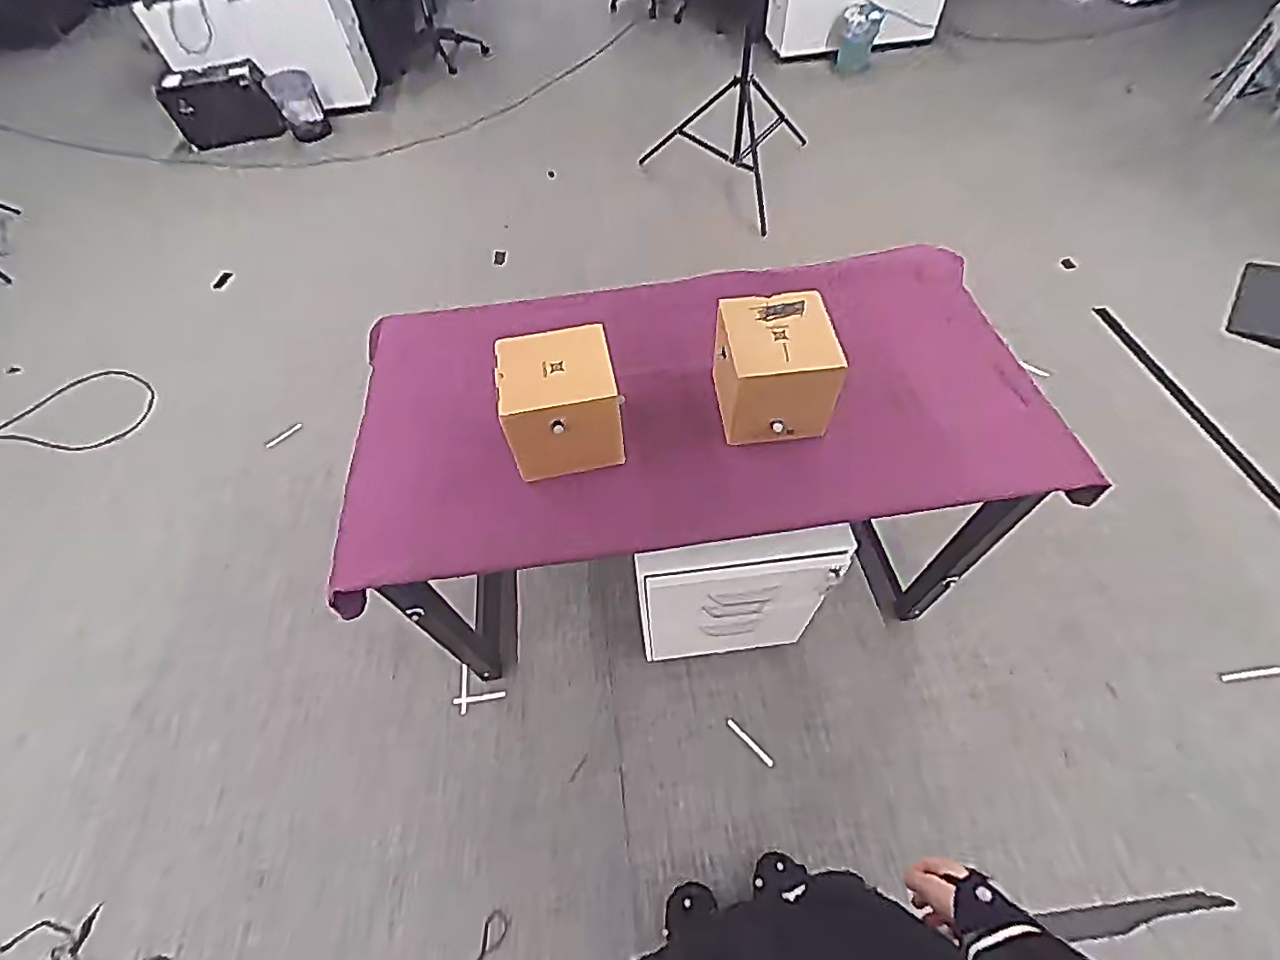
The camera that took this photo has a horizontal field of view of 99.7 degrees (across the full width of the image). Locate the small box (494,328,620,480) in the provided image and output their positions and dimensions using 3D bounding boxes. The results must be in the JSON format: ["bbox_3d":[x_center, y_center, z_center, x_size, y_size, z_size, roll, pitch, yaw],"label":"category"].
[{"bbox_3d":[-0.130,-0.121,0.891,0.179,0.176,0.168,-11,56,-3],"label":"small box"}]

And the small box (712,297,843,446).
[{"bbox_3d":[0.216,-0.179,0.908,0.168,0.176,0.179,-6,57,0],"label":"small box"}]
